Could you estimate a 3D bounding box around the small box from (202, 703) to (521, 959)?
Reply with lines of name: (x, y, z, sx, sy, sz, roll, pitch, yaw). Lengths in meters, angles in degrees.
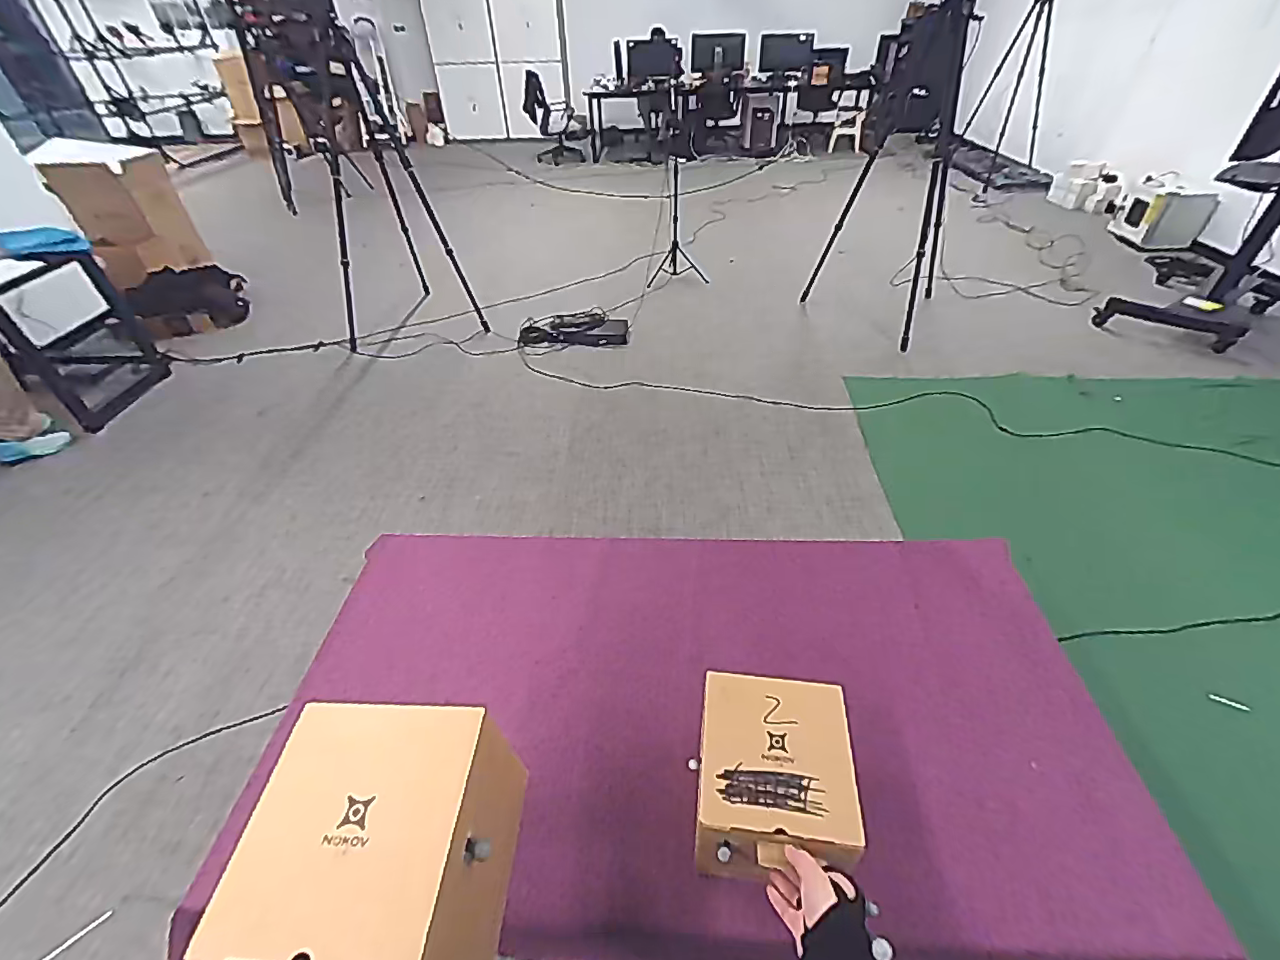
small box: (-0.214, 0.321, 0.482, 0.168, 0.176, 0.179, -1, 47, 6)
